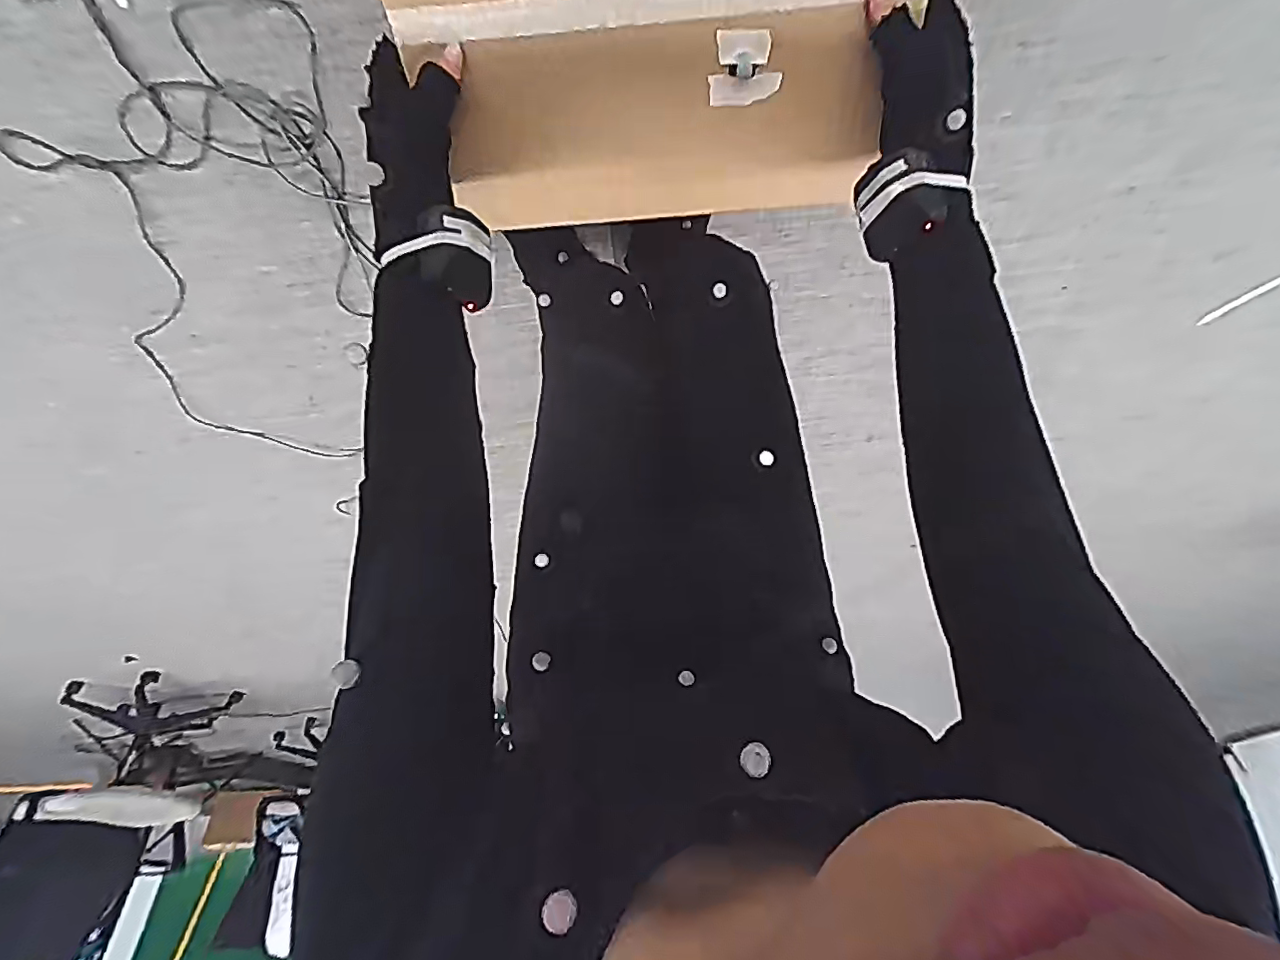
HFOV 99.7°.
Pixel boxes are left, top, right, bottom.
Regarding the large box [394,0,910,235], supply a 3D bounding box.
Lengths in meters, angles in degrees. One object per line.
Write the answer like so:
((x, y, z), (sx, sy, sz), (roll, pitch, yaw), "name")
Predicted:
((0.004, -0.470, 0.520), (0.408, 0.320, 0.320), (-5, 137, 1), "large box")
